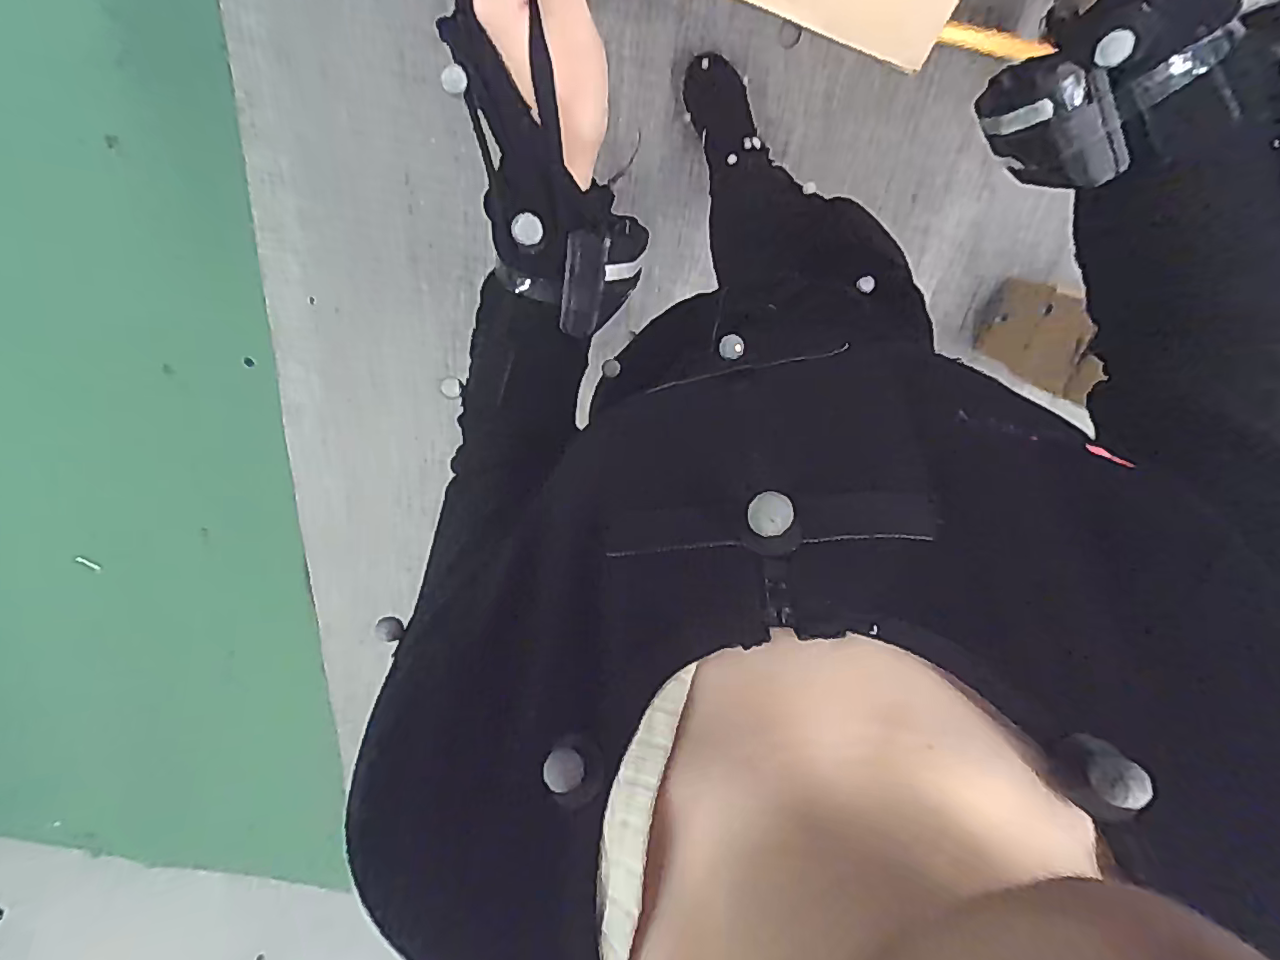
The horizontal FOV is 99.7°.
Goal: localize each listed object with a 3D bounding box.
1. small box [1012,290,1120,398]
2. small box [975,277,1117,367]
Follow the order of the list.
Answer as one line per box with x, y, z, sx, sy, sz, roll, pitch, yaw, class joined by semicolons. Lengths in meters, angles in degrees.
0.829;-0.242;0.979;0.179;0.176;0.168;9;117;-2;small box
0.851;-0.317;1.125;0.179;0.176;0.168;11;116;-2;small box
